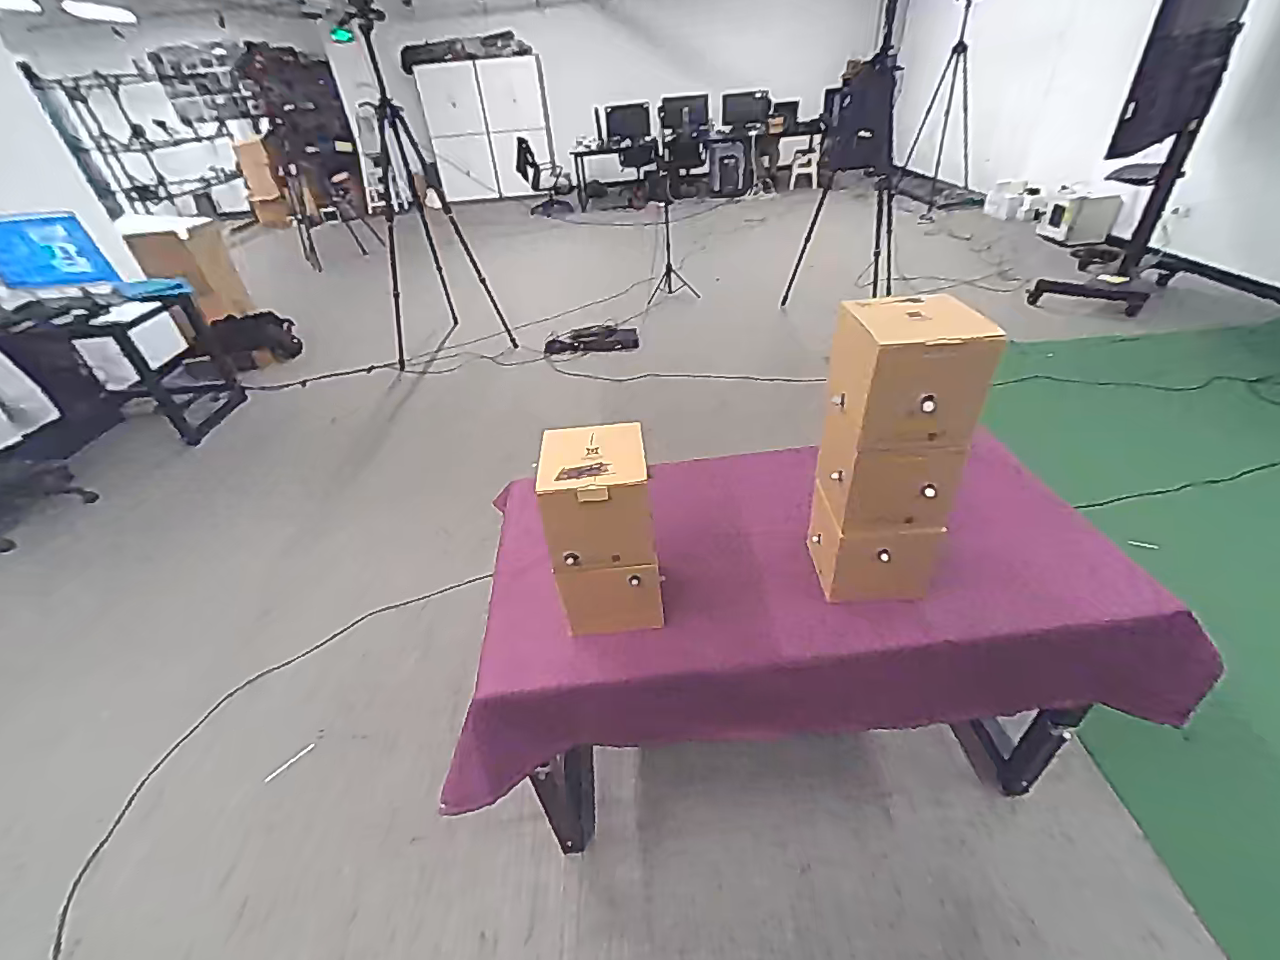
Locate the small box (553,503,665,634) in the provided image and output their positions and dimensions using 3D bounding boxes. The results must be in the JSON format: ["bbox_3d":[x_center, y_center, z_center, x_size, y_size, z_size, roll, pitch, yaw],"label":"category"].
[{"bbox_3d":[-0.052,0.163,0.991,0.179,0.176,0.168,-5,36,0],"label":"small box"}]

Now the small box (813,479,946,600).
[{"bbox_3d":[0.422,0.105,0.991,0.179,0.176,0.168,-4,37,4],"label":"small box"}]

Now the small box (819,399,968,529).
[{"bbox_3d":[0.407,-0.030,0.902,0.168,0.176,0.179,-3,36,4],"label":"small box"}]

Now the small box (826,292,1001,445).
[{"bbox_3d":[0.388,-0.162,0.804,0.168,0.176,0.179,-3,37,3],"label":"small box"}]

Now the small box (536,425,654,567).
[{"bbox_3d":[-0.068,0.030,0.897,0.168,0.176,0.179,-6,35,0],"label":"small box"}]
